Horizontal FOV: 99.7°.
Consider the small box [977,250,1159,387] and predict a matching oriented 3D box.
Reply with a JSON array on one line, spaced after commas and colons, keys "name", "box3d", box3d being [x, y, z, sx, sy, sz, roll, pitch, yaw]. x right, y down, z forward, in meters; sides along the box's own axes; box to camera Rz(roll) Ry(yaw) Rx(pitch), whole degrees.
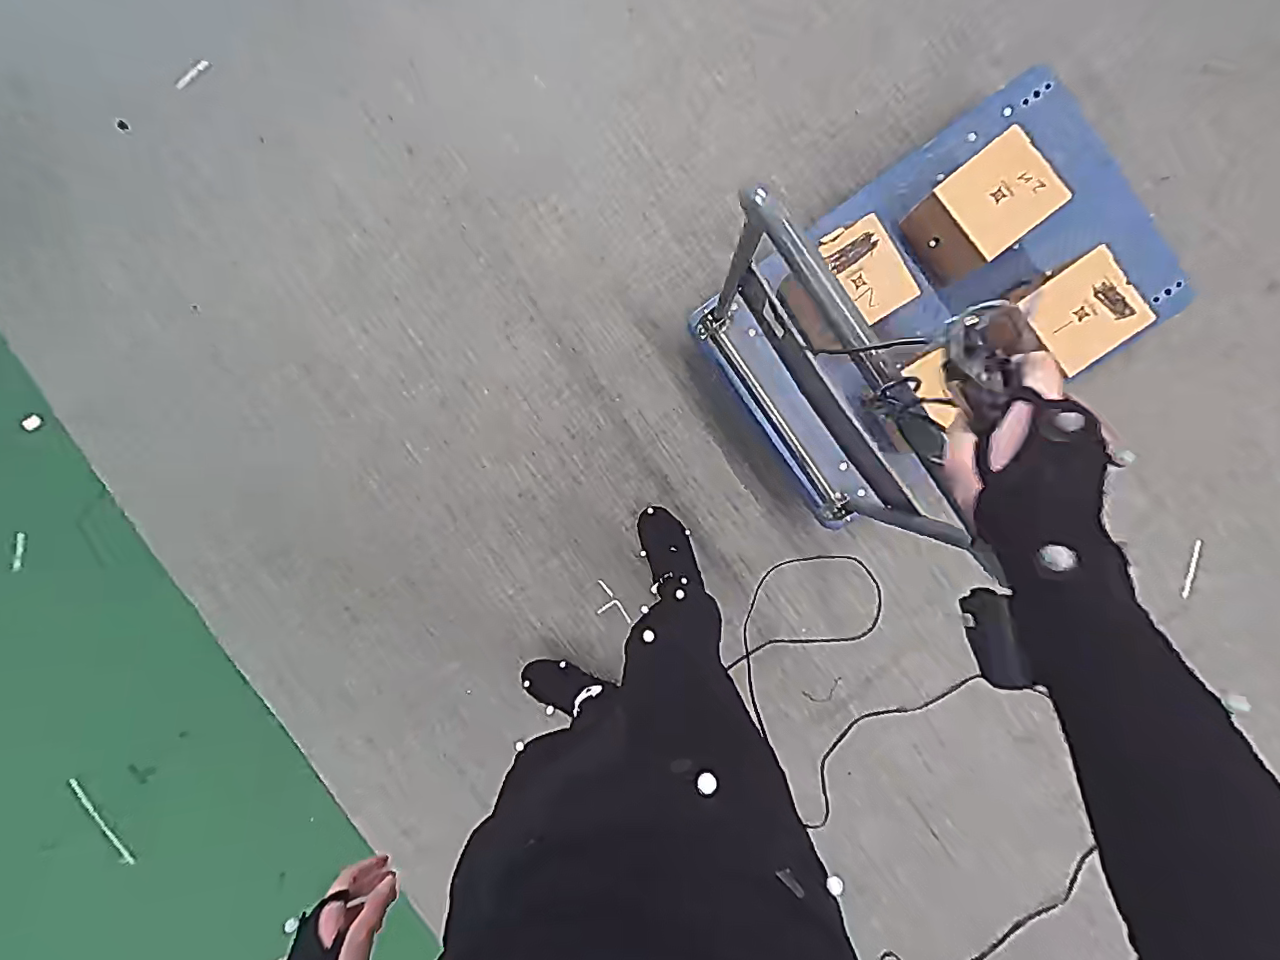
[{"name": "small box", "box3d": [0.797, -0.295, 1.029, 0.179, 0.176, 0.168, -35, 90, 7]}]

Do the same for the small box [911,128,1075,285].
[{"name": "small box", "box3d": [0.649, -0.504, 1.027, 0.179, 0.176, 0.168, -37, 91, 7]}]

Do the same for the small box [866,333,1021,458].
[{"name": "small box", "box3d": [0.581, -0.160, 1.061, 0.179, 0.176, 0.168, -33, 90, 7]}]
